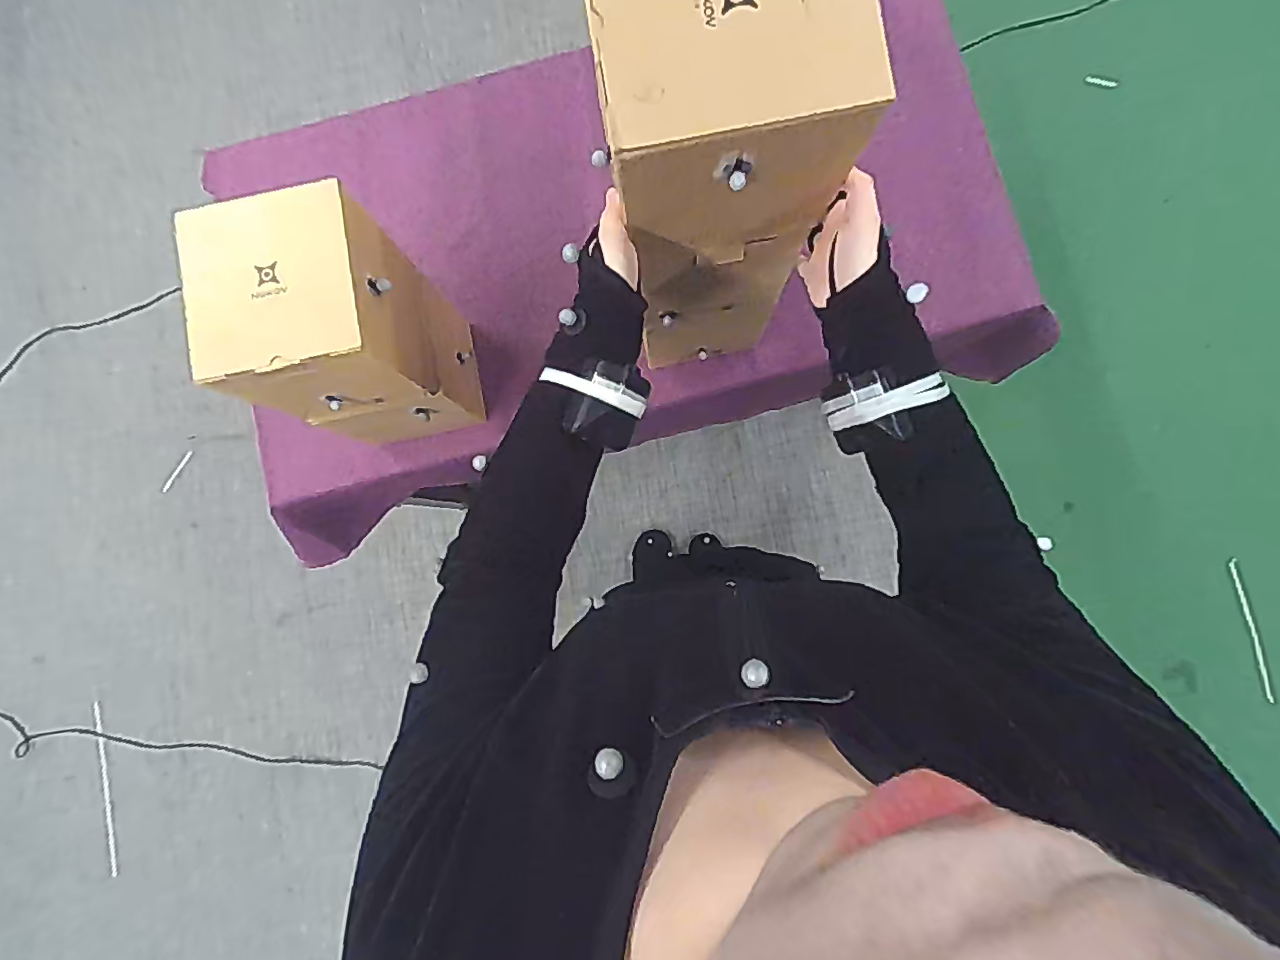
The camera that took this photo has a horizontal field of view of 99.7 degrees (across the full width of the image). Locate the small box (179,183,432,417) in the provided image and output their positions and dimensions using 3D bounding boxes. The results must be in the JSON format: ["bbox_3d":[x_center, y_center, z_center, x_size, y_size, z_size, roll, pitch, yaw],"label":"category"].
[{"bbox_3d":[-0.352,-0.183,0.597,0.168,0.176,0.179,-11,85,2],"label":"small box"}]

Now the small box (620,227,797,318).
[{"bbox_3d":[0.059,-0.289,0.581,0.168,0.176,0.179,-9,83,3],"label":"small box"}]

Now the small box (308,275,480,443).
[{"bbox_3d":[-0.338,-0.158,0.758,0.179,0.176,0.168,-12,83,2],"label":"small box"}]

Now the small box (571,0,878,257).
[{"bbox_3d":[0.051,-0.290,0.411,0.179,0.176,0.168,-9,90,3],"label":"small box"}]
